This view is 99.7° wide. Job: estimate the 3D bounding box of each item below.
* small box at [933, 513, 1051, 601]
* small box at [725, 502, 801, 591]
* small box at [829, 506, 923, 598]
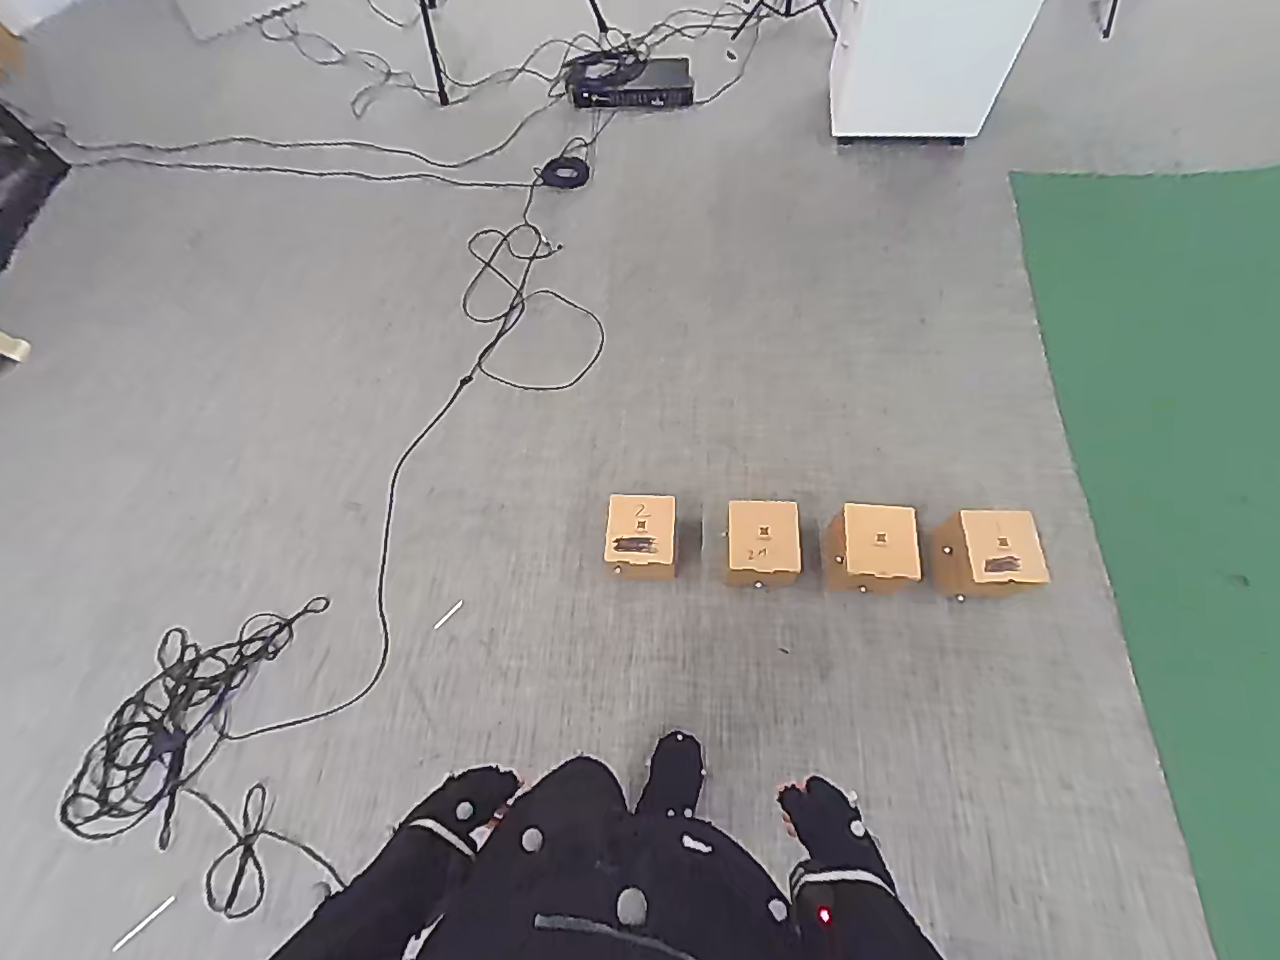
[{"bbox_3d":[0.836,0.190,1.303,0.168,0.176,0.179,1,65,4],"label":"small box"},{"bbox_3d":[0.301,0.169,1.349,0.168,0.176,0.179,1,66,6],"label":"small box"},{"bbox_3d":[0.568,0.180,1.328,0.168,0.176,0.179,4,67,5],"label":"small box"}]
